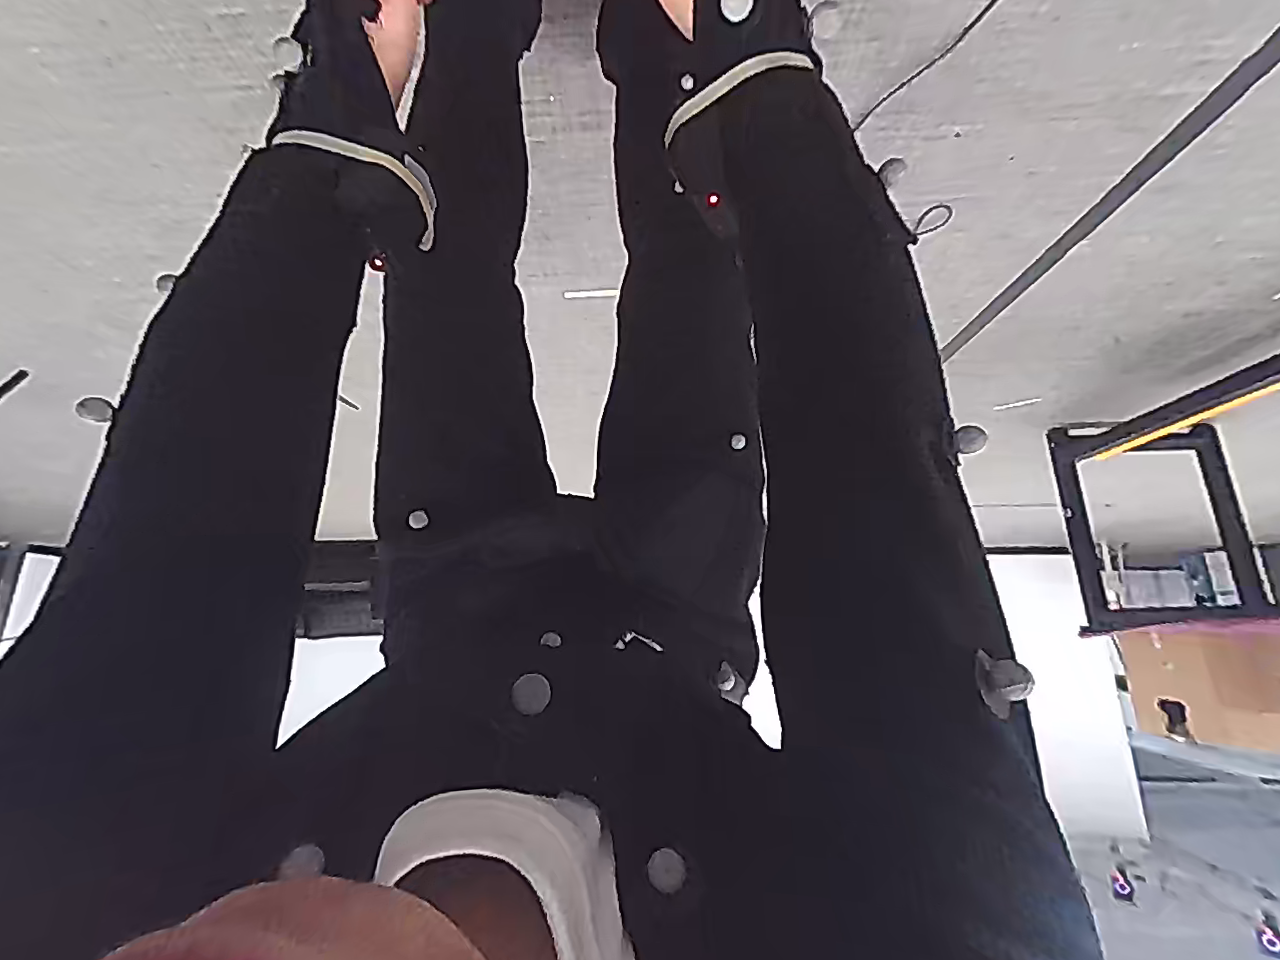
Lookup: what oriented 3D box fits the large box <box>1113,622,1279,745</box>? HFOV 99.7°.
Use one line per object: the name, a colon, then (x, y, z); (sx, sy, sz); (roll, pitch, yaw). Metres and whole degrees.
large box: (1.775, 0.598, 1.623); (0.408, 0.320, 0.320); (-3, 165, 3)
